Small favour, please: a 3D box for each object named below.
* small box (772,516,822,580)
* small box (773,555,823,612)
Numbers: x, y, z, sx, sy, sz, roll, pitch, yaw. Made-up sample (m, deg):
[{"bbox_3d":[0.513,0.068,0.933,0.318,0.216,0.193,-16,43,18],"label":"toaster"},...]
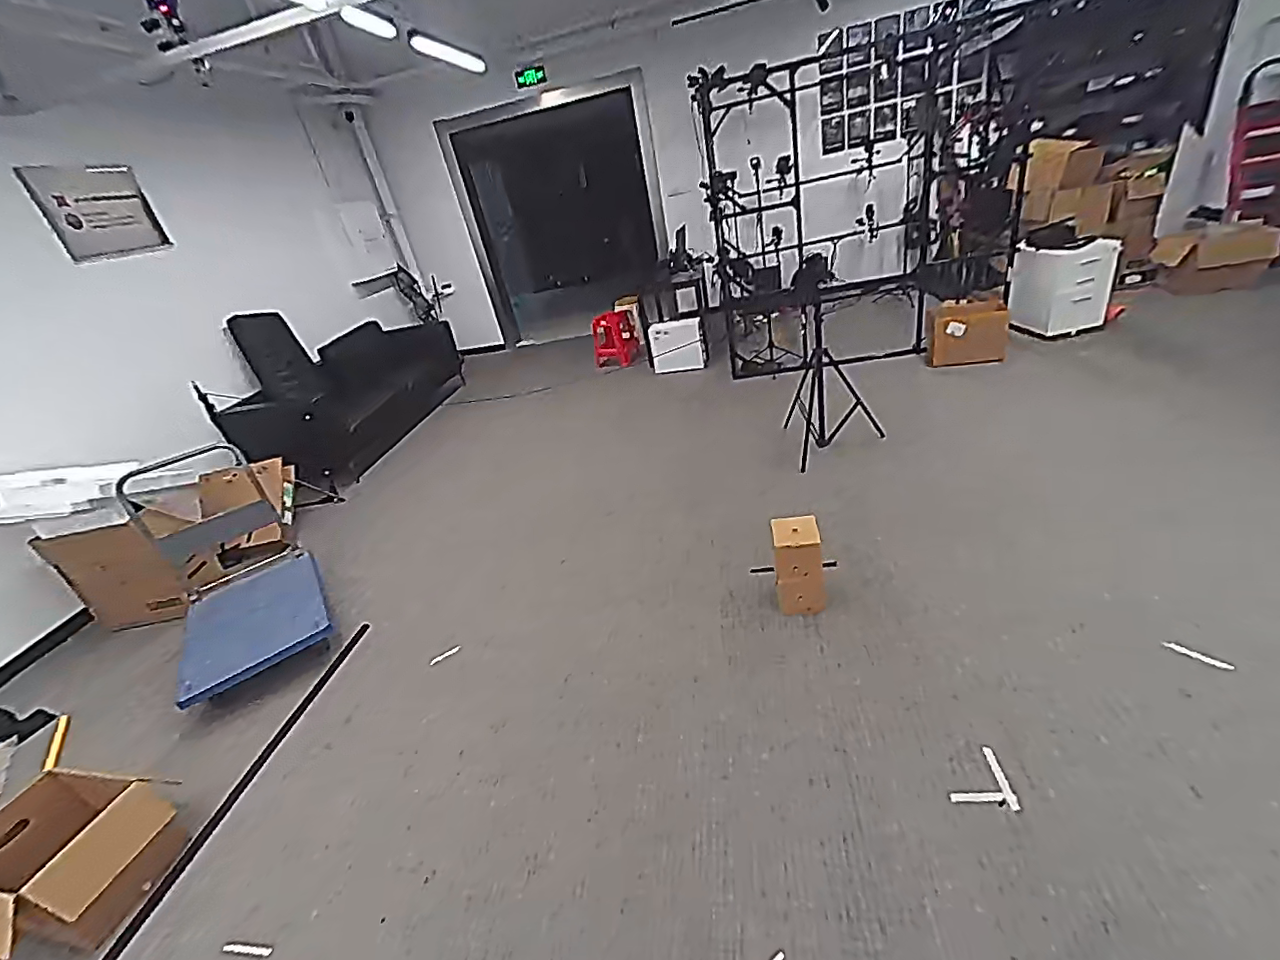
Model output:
[{"bbox_3d":[0.595,0.260,2.061,0.168,0.176,0.179,-7,30,12],"label":"small box"},{"bbox_3d":[0.623,0.405,2.131,0.168,0.176,0.179,-7,28,10],"label":"small box"}]
